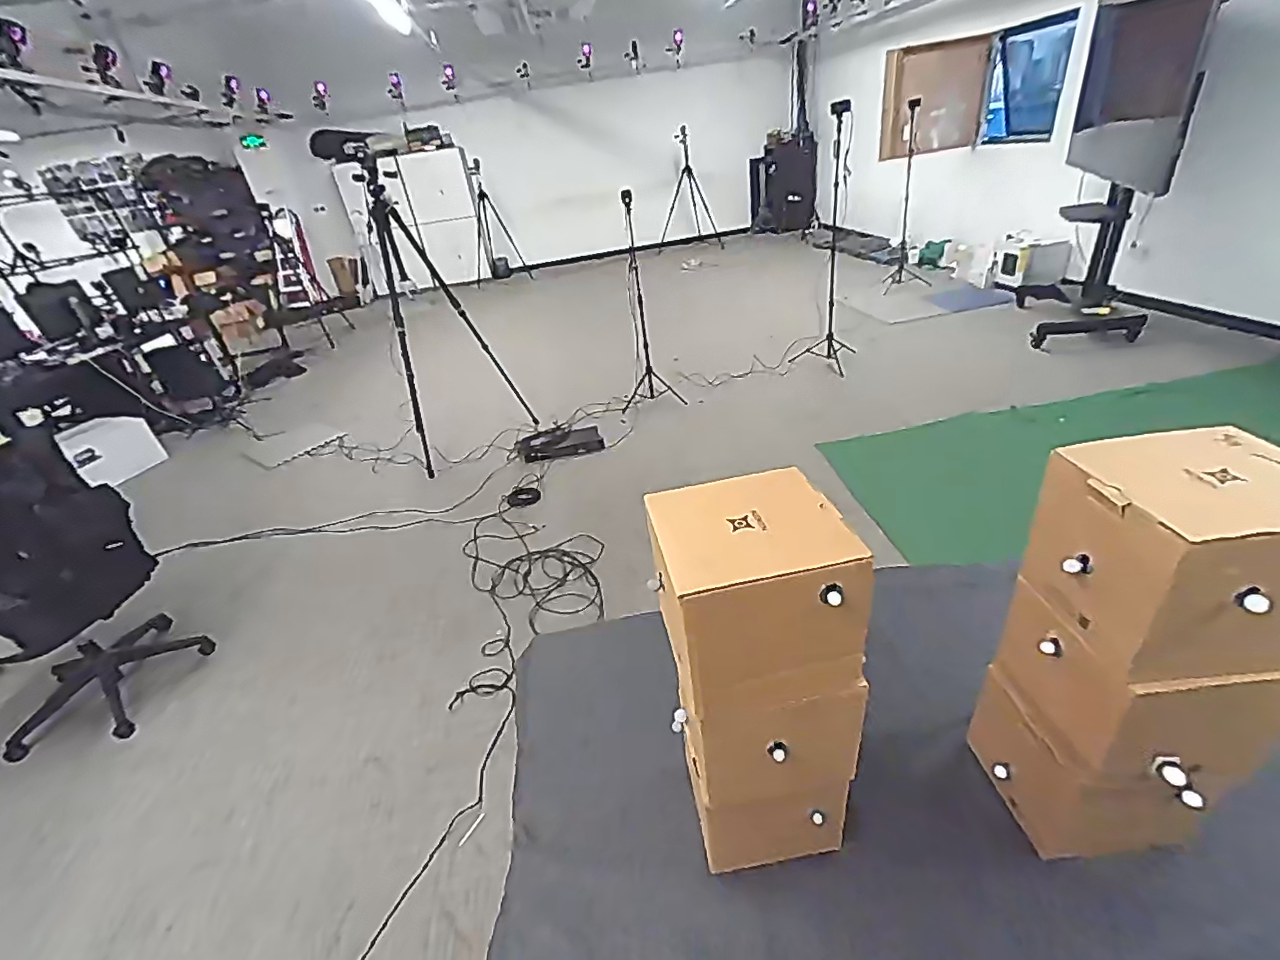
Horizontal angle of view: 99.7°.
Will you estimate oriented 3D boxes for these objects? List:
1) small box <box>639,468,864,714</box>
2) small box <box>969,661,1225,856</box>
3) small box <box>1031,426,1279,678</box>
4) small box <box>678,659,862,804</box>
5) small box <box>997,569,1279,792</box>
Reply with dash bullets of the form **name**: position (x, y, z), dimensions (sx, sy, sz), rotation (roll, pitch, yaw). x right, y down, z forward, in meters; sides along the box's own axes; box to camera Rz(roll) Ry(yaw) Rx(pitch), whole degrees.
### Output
- **small box**: position (0.106, 0.112, 0.558), dimensions (0.179, 0.176, 0.168), rotation (-11, 31, -5)
- **small box**: position (0.559, 0.343, 0.688), dimensions (0.179, 0.176, 0.168), rotation (-8, 30, 2)
- **small box**: position (0.514, 0.069, 0.519), dimensions (0.179, 0.176, 0.168), rotation (-8, 31, 5)
- **small box**: position (0.137, 0.248, 0.641), dimensions (0.179, 0.176, 0.168), rotation (-11, 31, -2)
- **small box**: position (0.535, 0.209, 0.600), dimensions (0.168, 0.176, 0.179), rotation (-9, 32, 4)
